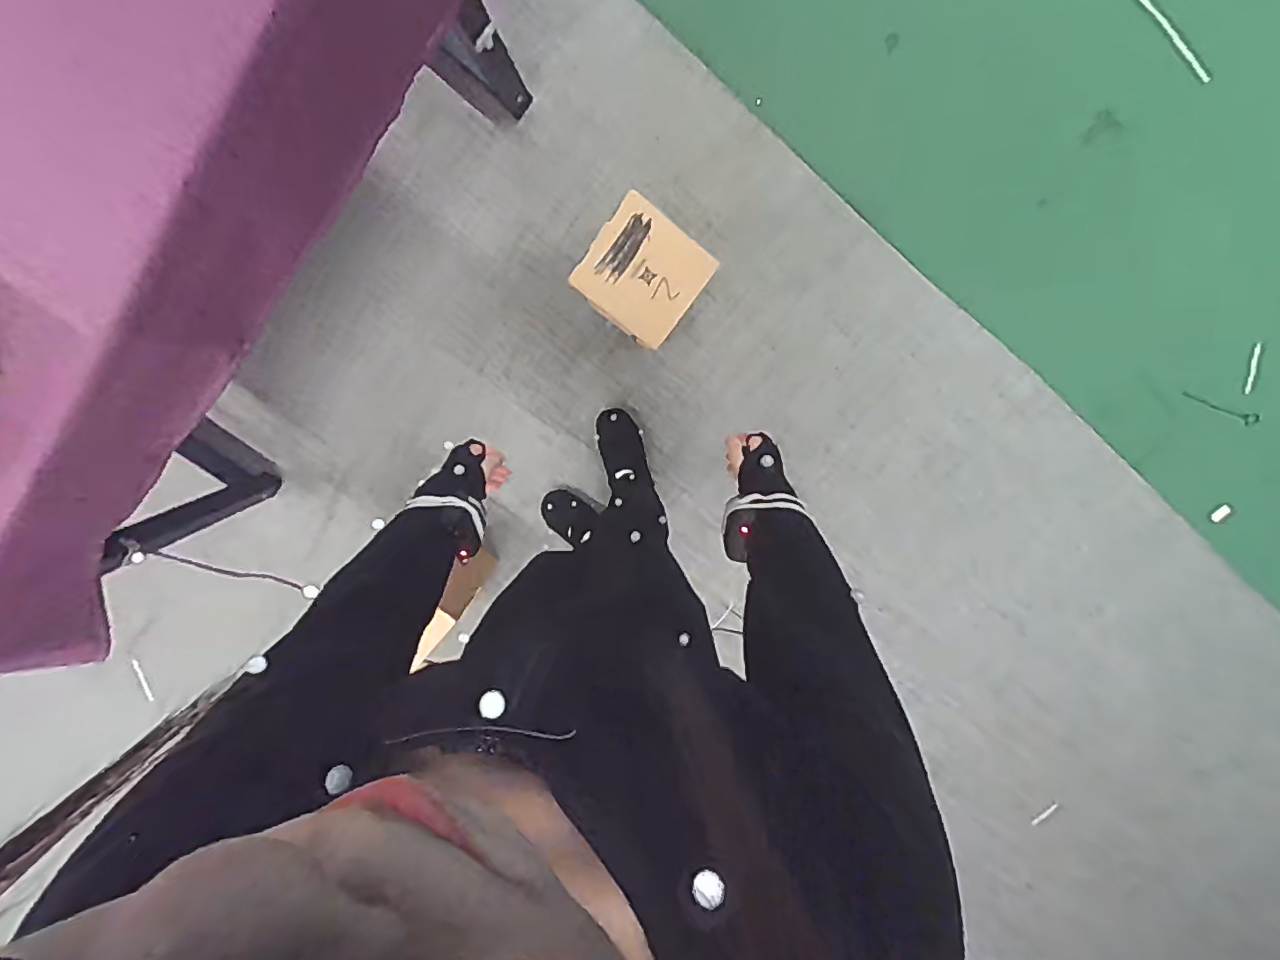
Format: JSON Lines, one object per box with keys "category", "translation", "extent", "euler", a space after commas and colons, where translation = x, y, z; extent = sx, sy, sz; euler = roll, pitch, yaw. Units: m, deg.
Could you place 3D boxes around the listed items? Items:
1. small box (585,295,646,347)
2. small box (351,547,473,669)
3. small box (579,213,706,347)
{"category": "small box", "translation": [-0.002, -0.421, 1.218], "extent": [0.168, 0.176, 0.179], "euler": [36, 102, -10]}
{"category": "small box", "translation": [-0.515, 0.290, 1.252], "extent": [0.168, 0.176, 0.179], "euler": [40, 102, -11]}
{"category": "small box", "translation": [0.003, -0.383, 1.060], "extent": [0.179, 0.176, 0.168], "euler": [39, 101, -10]}
